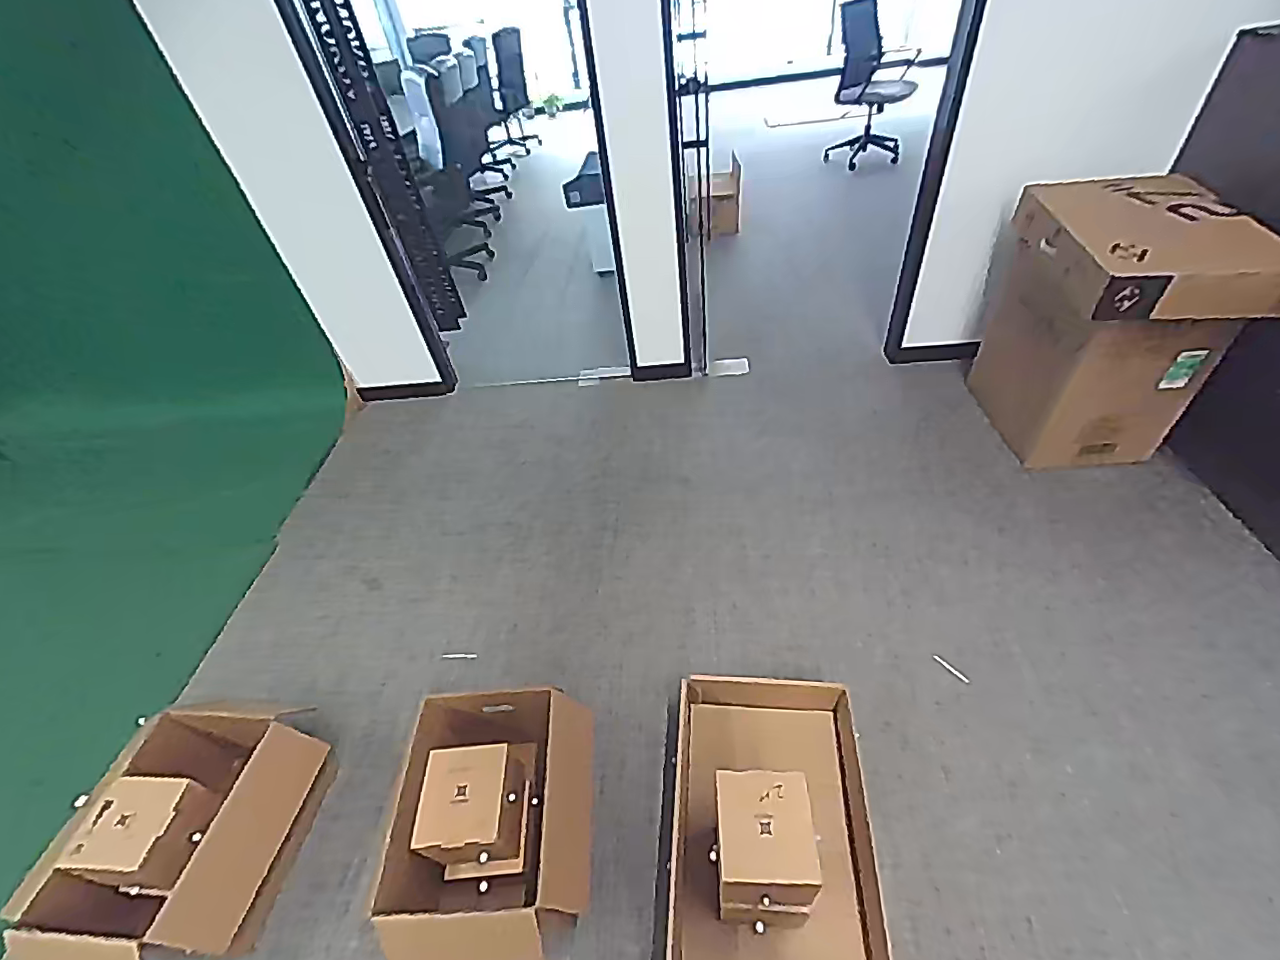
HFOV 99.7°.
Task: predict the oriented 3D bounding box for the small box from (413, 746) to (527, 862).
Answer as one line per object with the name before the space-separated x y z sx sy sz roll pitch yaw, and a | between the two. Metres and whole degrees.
small box | -0.338 0.672 1.116 0.168 0.176 0.179 -6 45 2

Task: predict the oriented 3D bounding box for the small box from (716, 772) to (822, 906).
small box | 0.227 0.661 0.994 0.168 0.176 0.179 -2 42 5

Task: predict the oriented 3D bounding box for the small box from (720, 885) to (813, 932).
small box | 0.247 0.786 1.099 0.168 0.176 0.179 -1 43 8
